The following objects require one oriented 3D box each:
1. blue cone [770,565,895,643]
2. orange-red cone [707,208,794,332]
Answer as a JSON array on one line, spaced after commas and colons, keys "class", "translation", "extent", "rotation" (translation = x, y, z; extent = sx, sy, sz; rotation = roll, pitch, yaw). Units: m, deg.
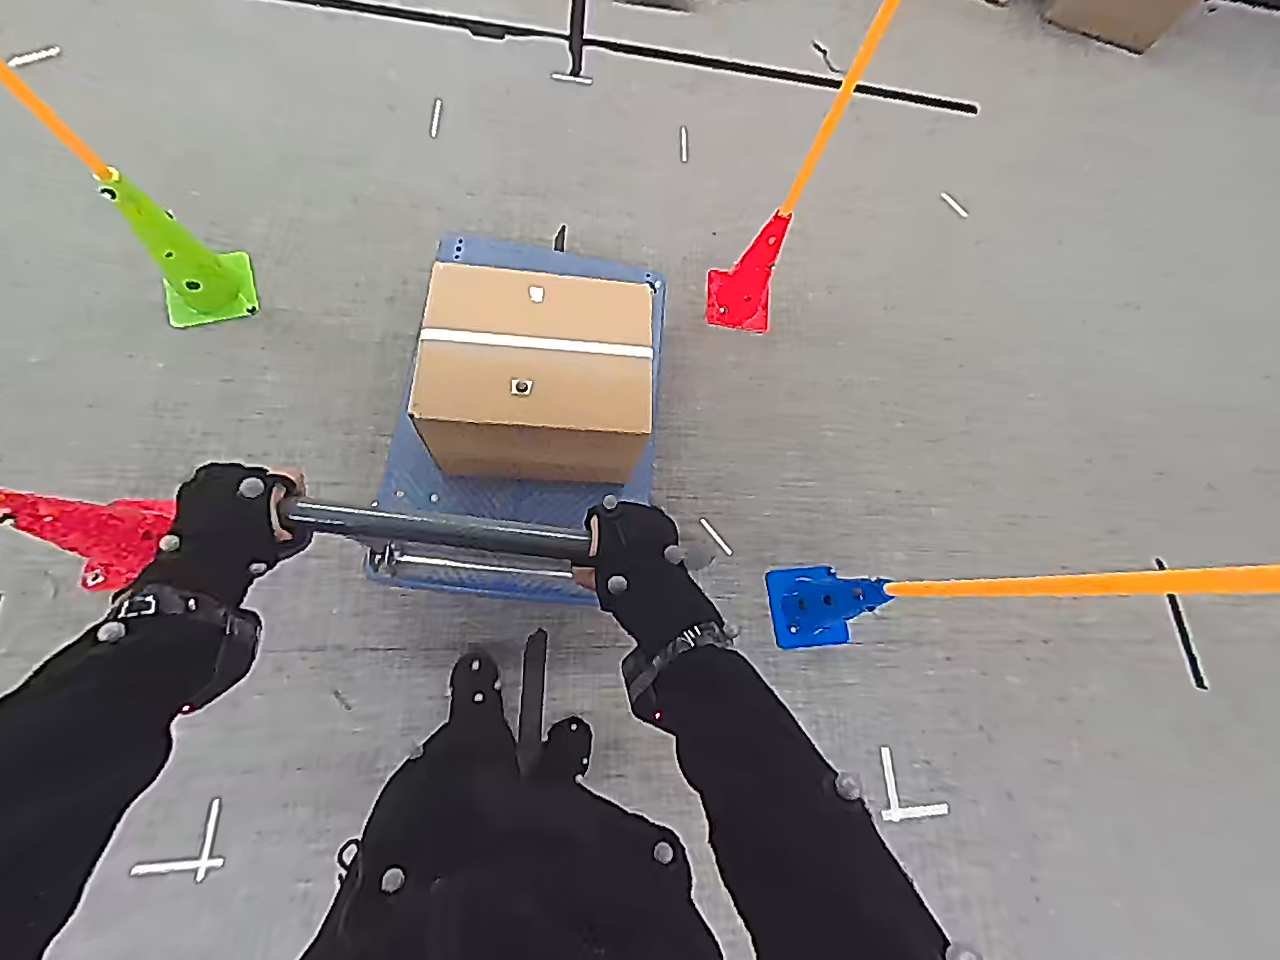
[{"class": "blue cone", "translation": [0.464, 0.264, 1.244], "extent": [0.193, 0.380, 0.192], "rotation": [-1, 71, -11]}, {"class": "orange-red cone", "translation": [0.335, -0.603, 1.492], "extent": [0.199, 0.360, 0.198], "rotation": [9, 71, -8]}]
